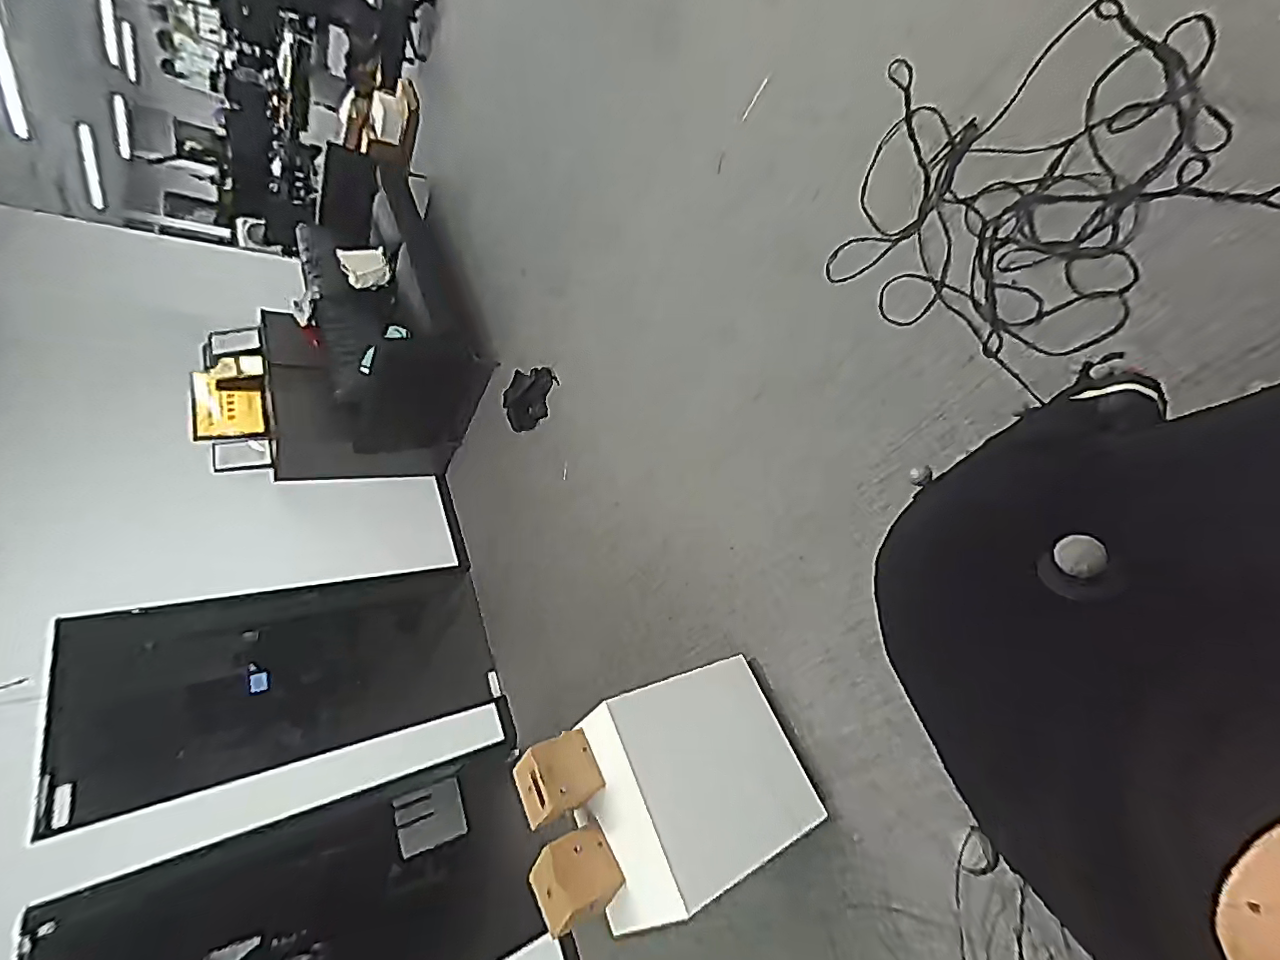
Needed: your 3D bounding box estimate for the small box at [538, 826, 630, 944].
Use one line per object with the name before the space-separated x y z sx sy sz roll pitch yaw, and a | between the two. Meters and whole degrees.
small box | -0.146 1.075 1.447 0.168 0.176 0.179 48 128 41
